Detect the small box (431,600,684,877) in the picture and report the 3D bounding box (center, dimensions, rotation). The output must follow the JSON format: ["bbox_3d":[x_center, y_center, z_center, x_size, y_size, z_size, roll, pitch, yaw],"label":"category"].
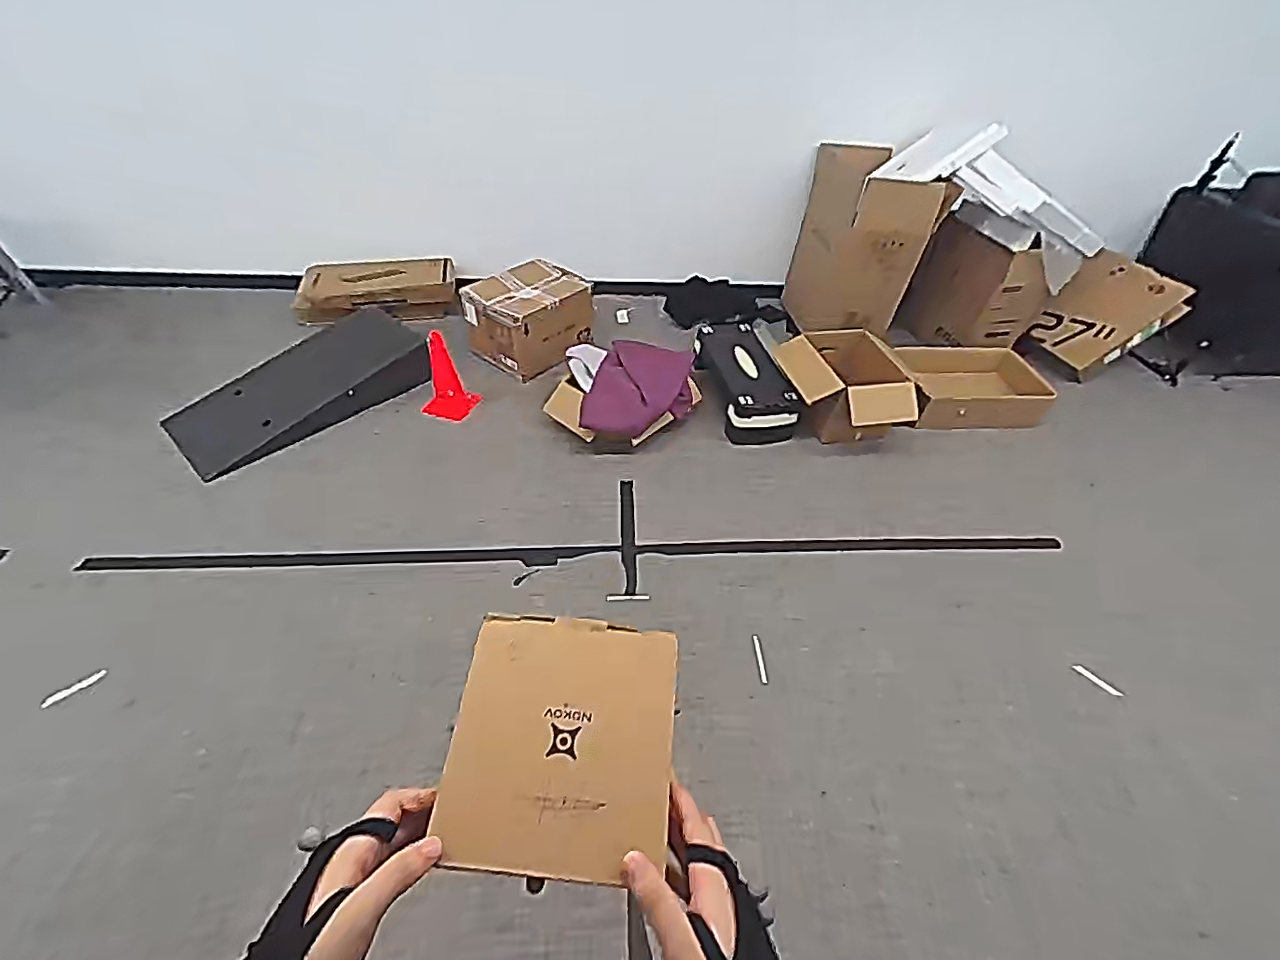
[{"bbox_3d":[-0.059,0.225,0.474,0.168,0.176,0.179,7,58,-1],"label":"small box"}]
